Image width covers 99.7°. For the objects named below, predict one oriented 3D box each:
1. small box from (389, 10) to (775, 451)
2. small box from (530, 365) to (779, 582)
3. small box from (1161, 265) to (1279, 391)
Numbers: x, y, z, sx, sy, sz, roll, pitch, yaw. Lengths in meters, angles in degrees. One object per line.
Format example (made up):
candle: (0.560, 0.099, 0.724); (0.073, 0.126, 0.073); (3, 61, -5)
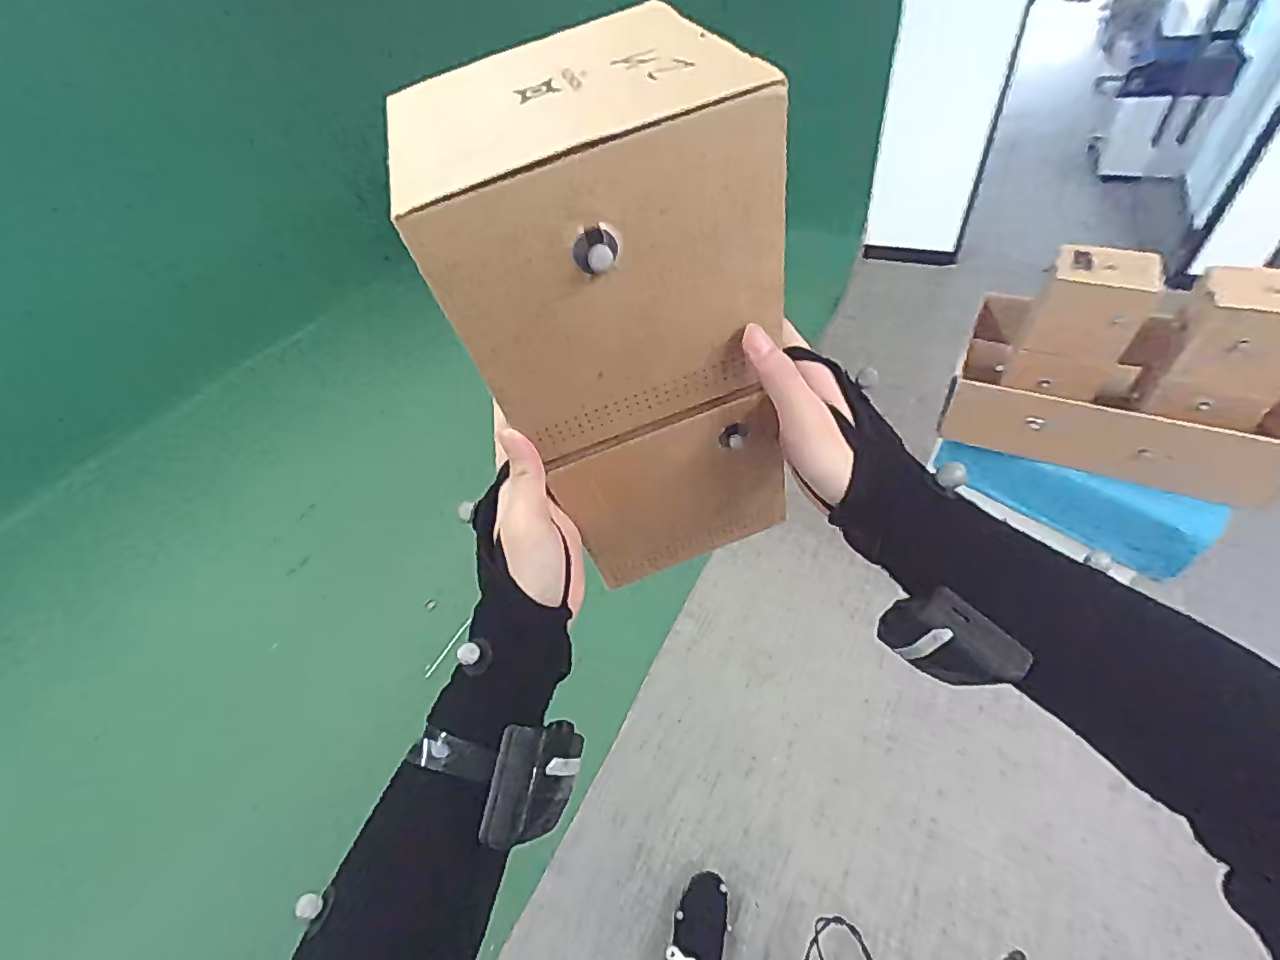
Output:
small box: (-0.028, -0.144, 0.335); (0.179, 0.176, 0.168); (-20, 53, -2)
small box: (0.008, -0.038, 0.473); (0.179, 0.176, 0.168); (-21, 48, -2)
small box: (1.148, -0.291, 1.038); (0.179, 0.176, 0.168); (17, 53, 26)
